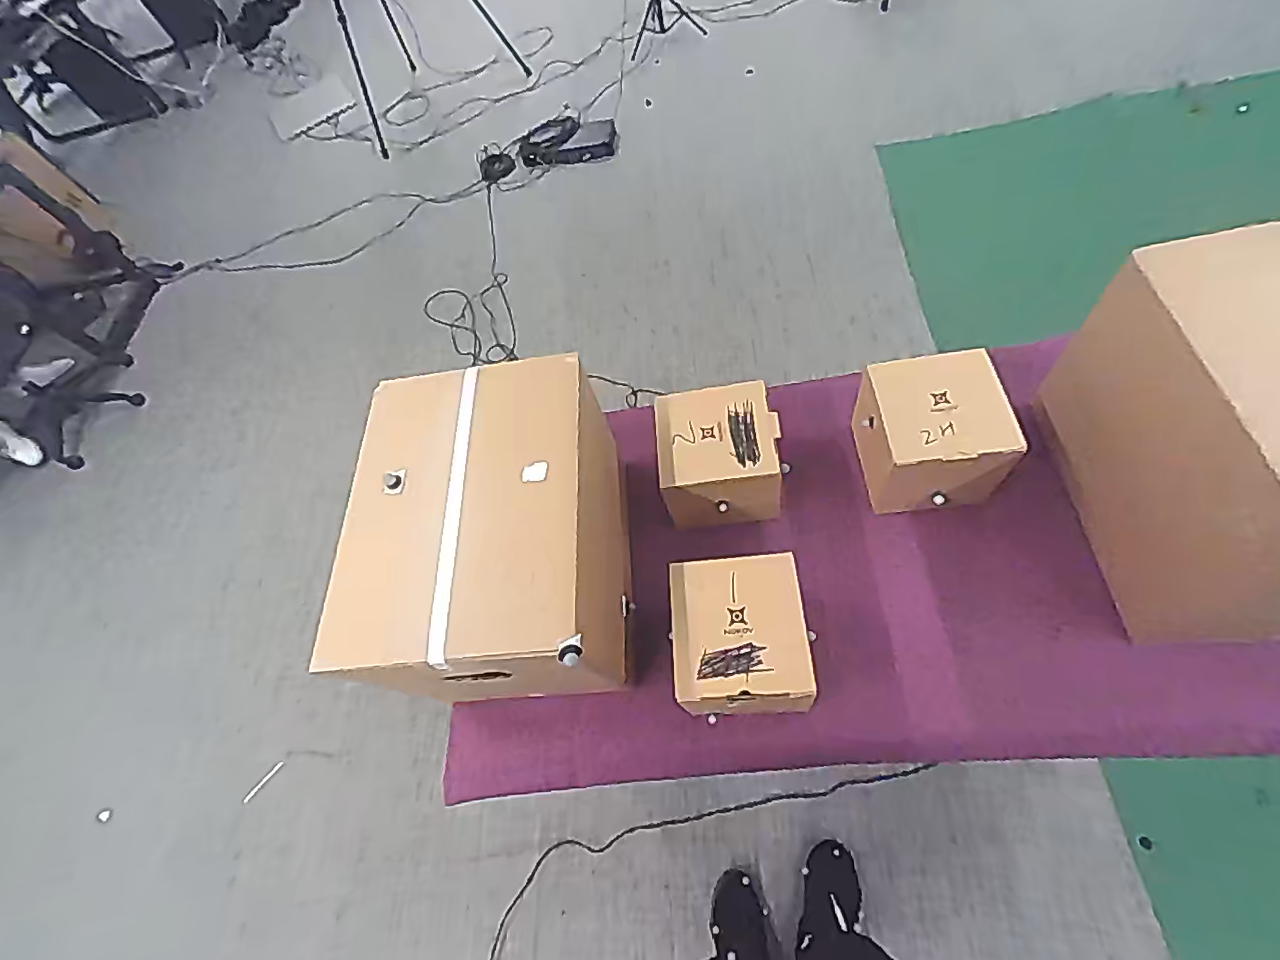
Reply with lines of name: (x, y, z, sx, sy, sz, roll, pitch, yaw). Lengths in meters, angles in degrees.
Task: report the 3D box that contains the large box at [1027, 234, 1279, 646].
large box: (0.761, -0.038, 0.652, 0.320, 0.320, 0.408, -7, 61, 11)
